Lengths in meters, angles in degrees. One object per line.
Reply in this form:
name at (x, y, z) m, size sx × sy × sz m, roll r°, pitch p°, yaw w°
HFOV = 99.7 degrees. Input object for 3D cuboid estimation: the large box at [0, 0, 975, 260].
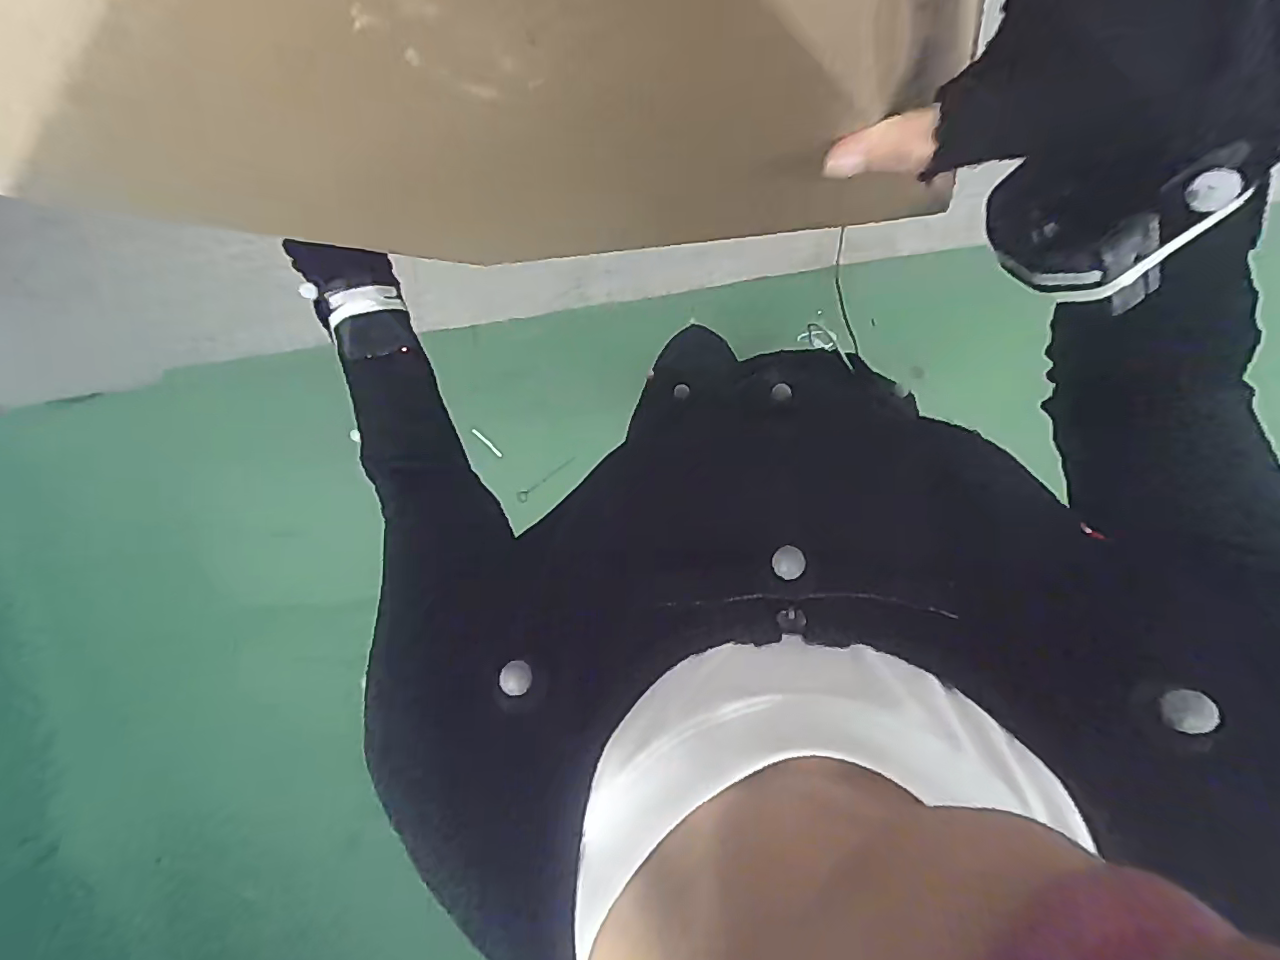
large box at (-0.078, -0.306, 0.257) m, size 0.408 × 0.320 × 0.320 m, roll 12°, pitch 107°, yaw 36°
